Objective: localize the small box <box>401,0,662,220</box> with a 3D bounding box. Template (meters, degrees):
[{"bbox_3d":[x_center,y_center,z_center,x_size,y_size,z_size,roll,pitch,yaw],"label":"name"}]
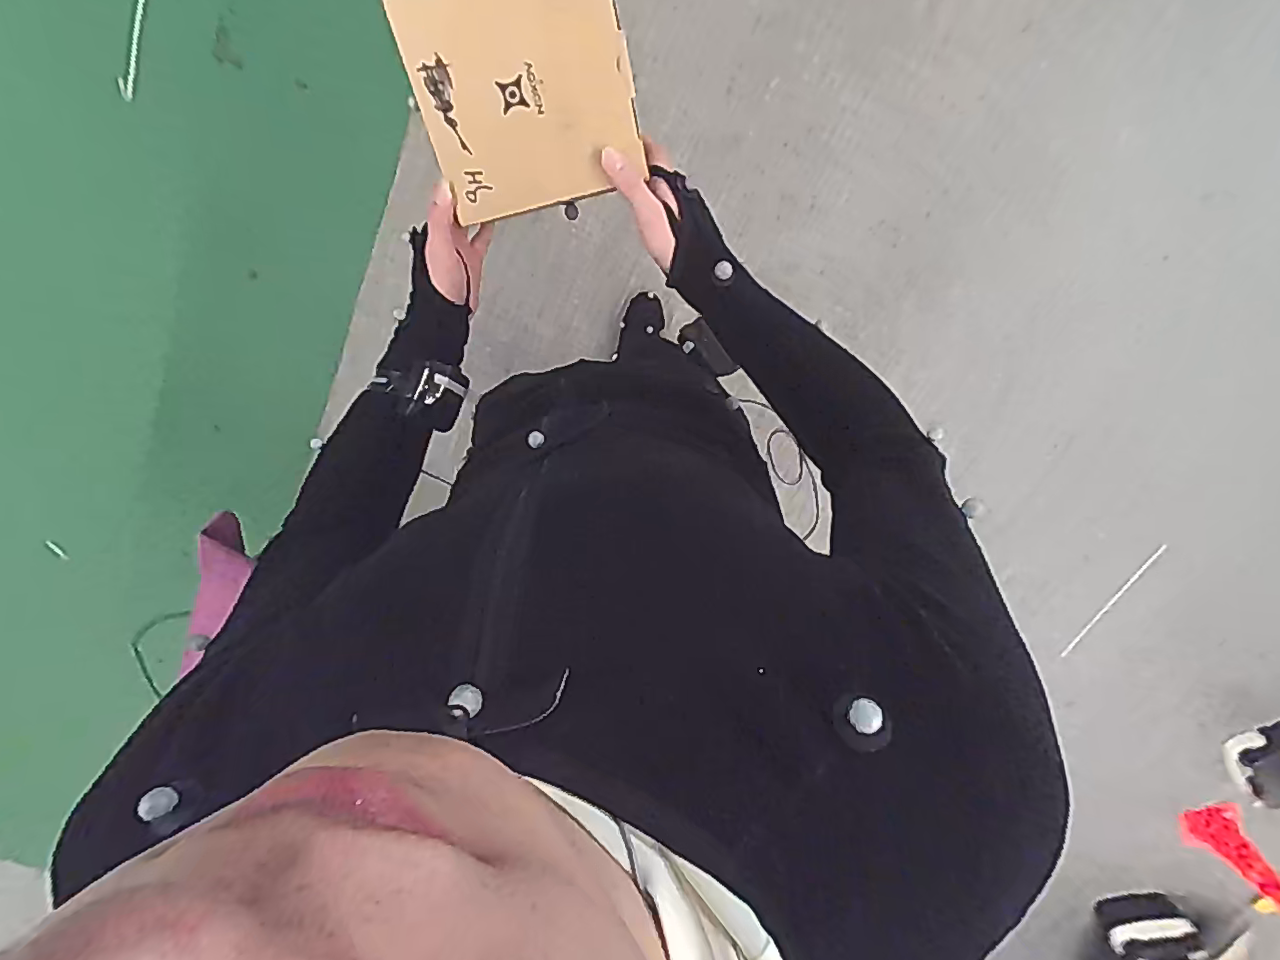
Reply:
[{"bbox_3d":[-0.084,-0.351,0.501,0.179,0.176,0.168,-11,117,4],"label":"small box"}]
